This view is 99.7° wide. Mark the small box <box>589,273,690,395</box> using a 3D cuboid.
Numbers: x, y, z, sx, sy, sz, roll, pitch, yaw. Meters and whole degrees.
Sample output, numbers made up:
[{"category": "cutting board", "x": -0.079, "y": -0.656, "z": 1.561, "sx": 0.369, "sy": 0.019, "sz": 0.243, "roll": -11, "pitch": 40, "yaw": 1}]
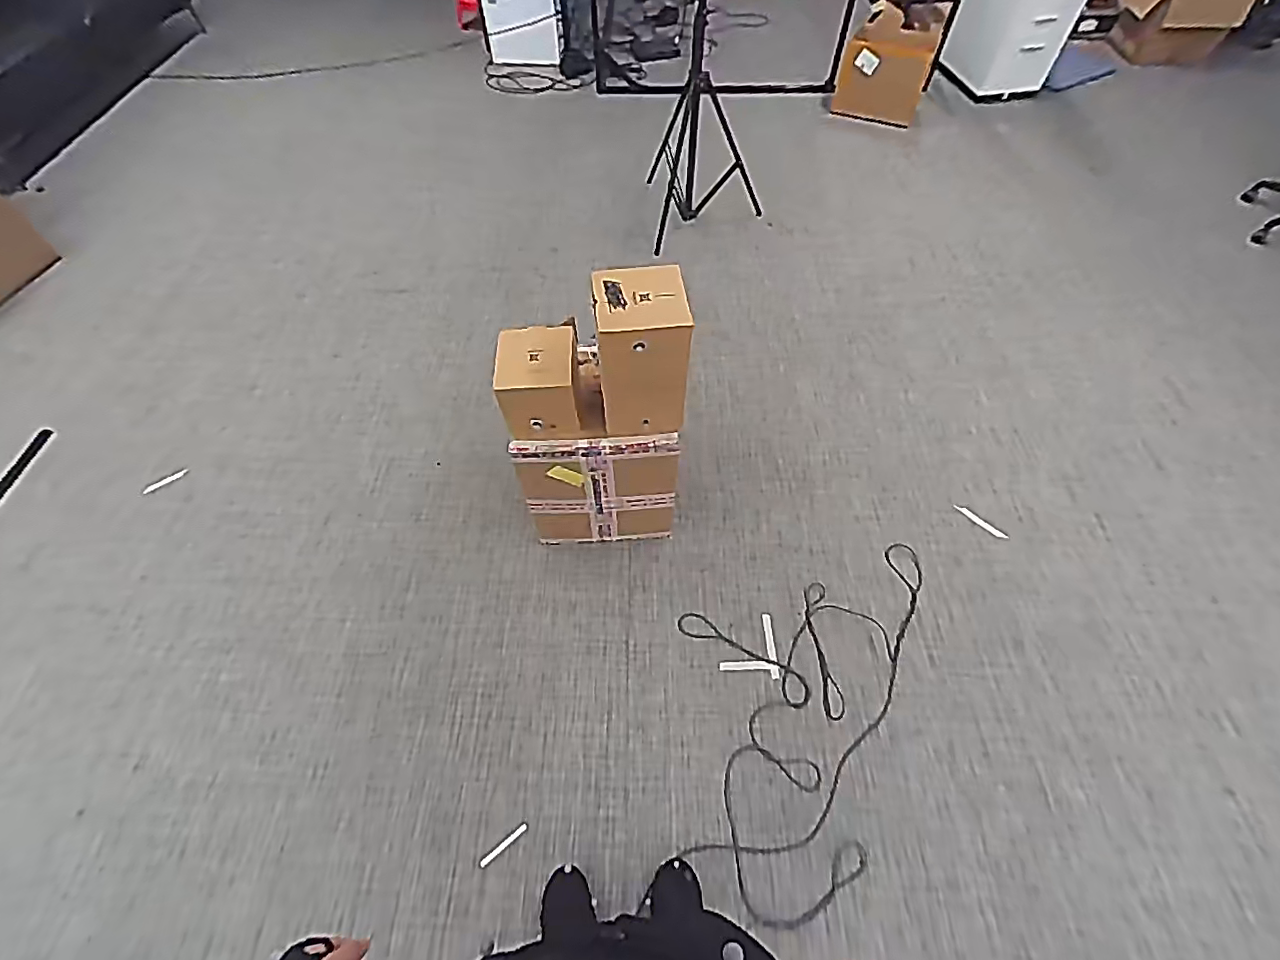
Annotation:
[{"category": "small box", "x": -0.003, "y": -0.287, "z": 1.086, "sx": 0.179, "sy": 0.176, "sz": 0.168, "roll": -6, "pitch": 60, "yaw": -4}]

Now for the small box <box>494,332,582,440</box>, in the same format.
[{"category": "small box", "x": -0.225, "y": -0.211, "z": 1.234, "sx": 0.168, "sy": 0.176, "sz": 0.179, "roll": -4, "pitch": 61, "yaw": 0}]

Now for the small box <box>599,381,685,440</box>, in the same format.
[{"category": "small box", "x": -0.002, "y": -0.208, "z": 1.232, "sx": 0.179, "sy": 0.176, "sz": 0.168, "roll": -6, "pitch": 60, "yaw": -4}]
